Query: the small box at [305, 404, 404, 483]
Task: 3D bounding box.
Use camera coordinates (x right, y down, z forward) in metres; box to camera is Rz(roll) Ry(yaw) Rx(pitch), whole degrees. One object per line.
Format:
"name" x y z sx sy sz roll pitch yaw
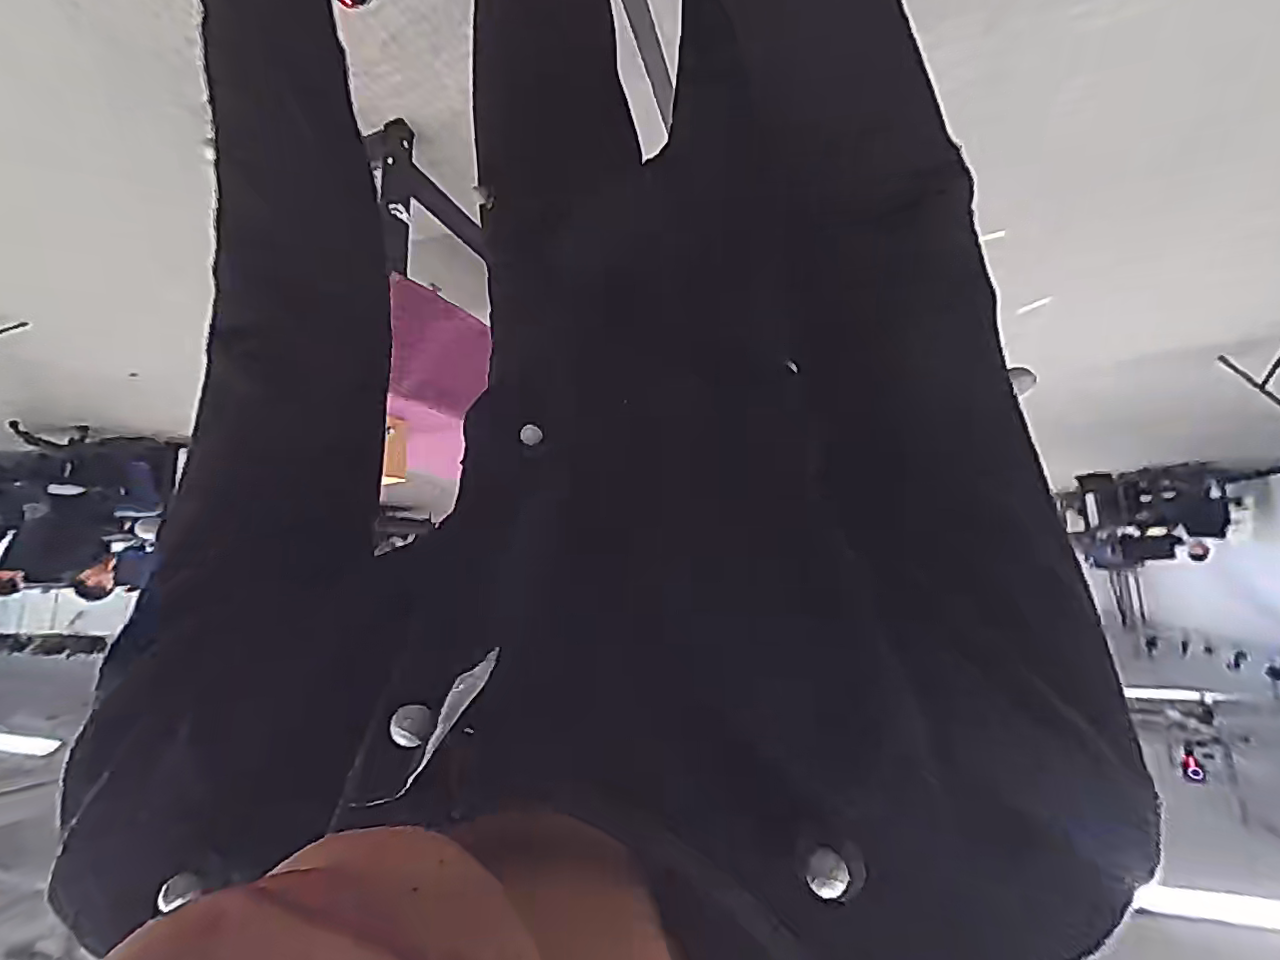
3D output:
"small box" -0.741 -0.092 1.421 0.179 0.176 0.168 -5 172 22
